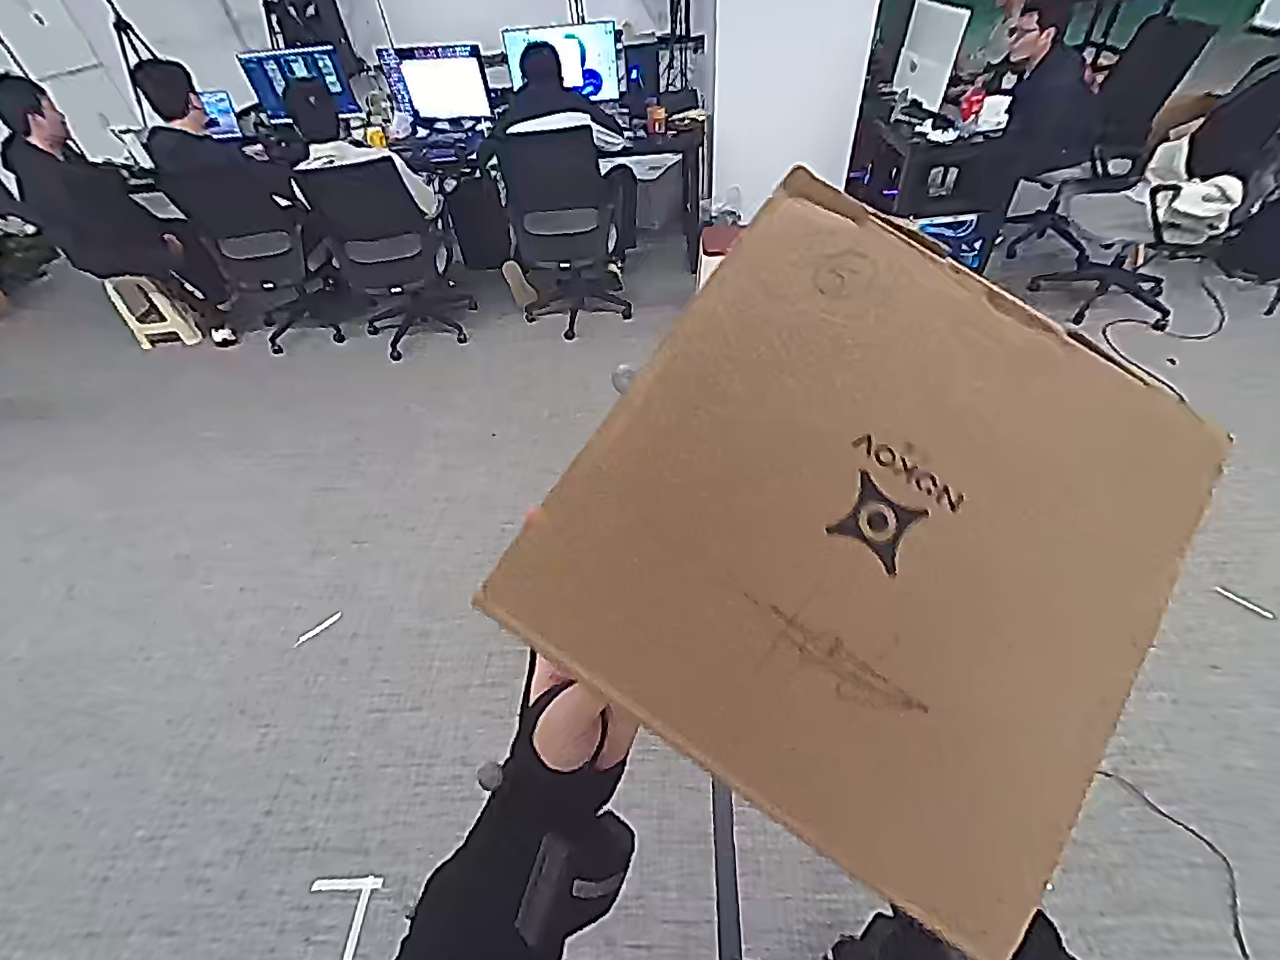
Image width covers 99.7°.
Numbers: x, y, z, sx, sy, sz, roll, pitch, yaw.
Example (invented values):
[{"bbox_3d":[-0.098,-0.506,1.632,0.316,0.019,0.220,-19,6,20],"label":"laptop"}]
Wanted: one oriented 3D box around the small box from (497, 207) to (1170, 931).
[{"bbox_3d":[0.064,0.030,0.251,0.168,0.176,0.179,34,77,6],"label":"small box"}]
